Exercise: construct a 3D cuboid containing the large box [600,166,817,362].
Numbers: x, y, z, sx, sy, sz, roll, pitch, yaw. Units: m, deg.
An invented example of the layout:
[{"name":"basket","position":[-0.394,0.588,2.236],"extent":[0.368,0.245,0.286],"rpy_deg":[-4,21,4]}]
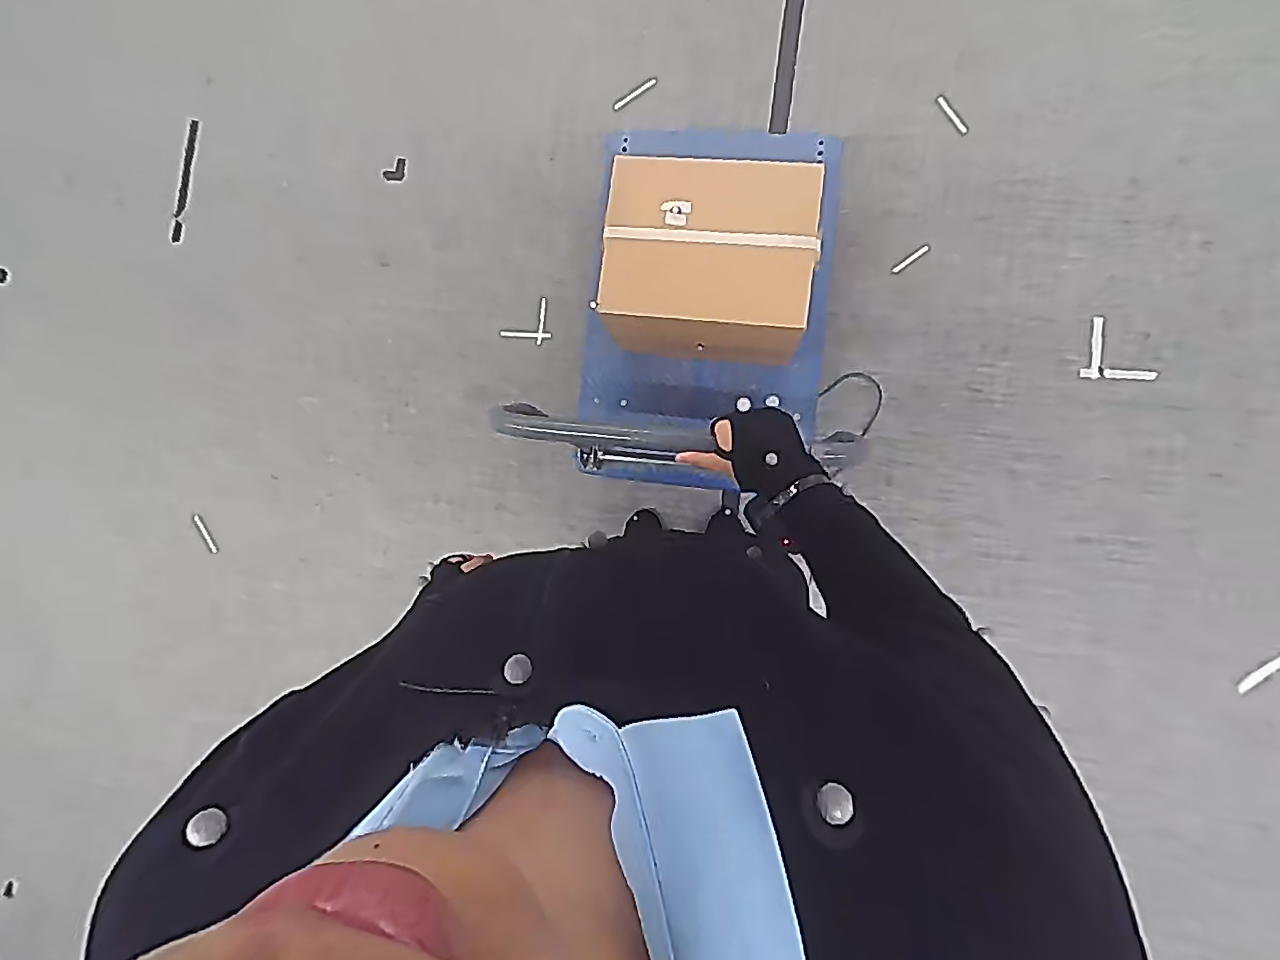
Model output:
[{"name":"large box","position":[0.152,-0.455,1.197],"extent":[0.408,0.320,0.320],"rpy_deg":[6,88,9]}]
